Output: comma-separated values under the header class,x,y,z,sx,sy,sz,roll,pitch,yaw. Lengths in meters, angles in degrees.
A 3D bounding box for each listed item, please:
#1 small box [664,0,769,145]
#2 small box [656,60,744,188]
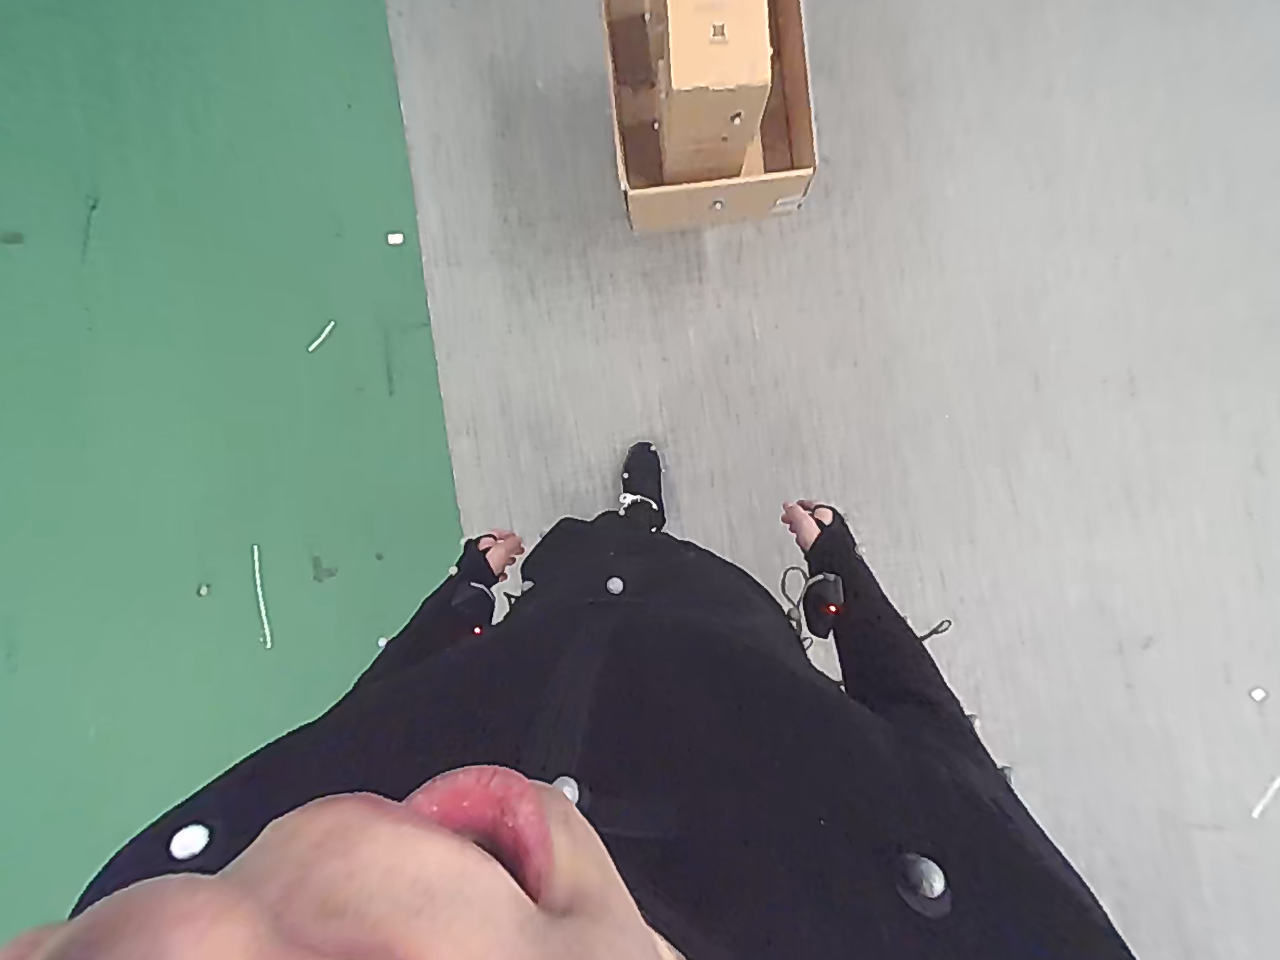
class,x,y,z,sx,sy,sz,roll,pitch,yaw
small box,0.128,-0.724,0.959,0.168,0.176,0.179,-3,89,0
small box,0.123,-0.732,1.122,0.168,0.176,0.179,-5,89,1
